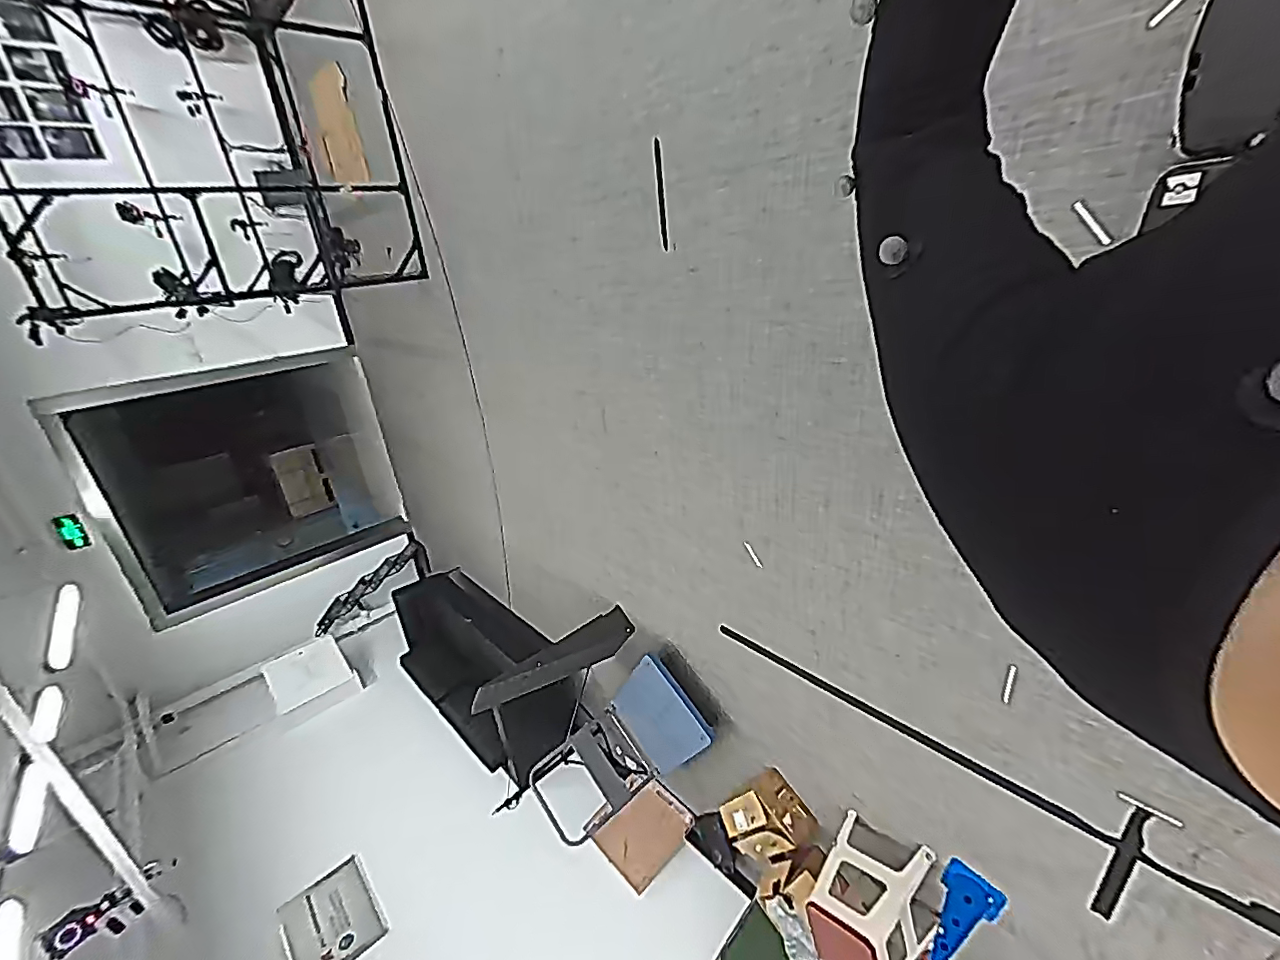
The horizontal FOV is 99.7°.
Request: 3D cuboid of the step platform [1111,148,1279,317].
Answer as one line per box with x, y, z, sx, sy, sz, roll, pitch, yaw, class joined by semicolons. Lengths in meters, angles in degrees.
1.248;-0.430;0.909;0.684;0.204;0.286;18;122;47;step platform
